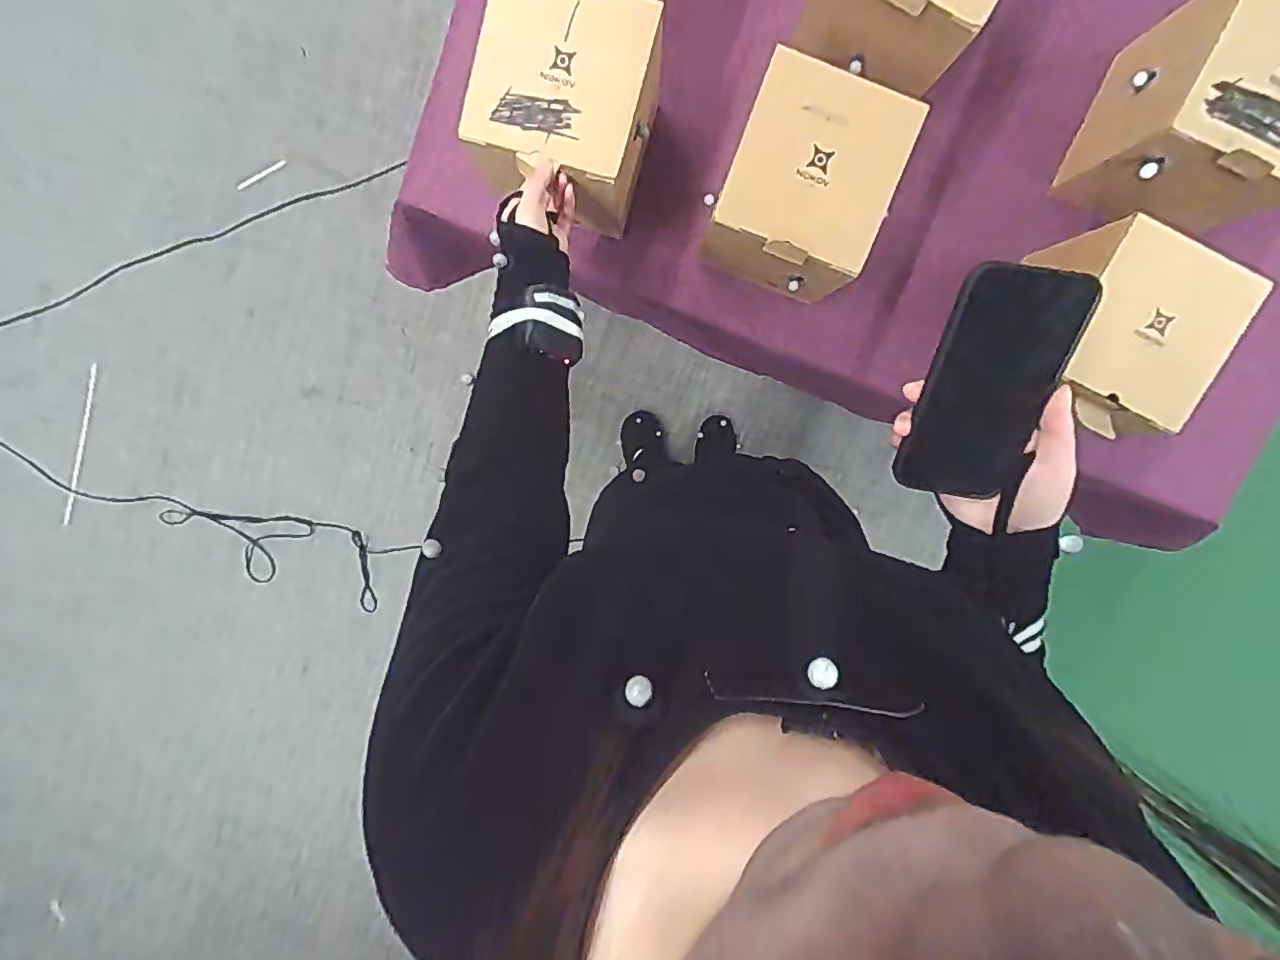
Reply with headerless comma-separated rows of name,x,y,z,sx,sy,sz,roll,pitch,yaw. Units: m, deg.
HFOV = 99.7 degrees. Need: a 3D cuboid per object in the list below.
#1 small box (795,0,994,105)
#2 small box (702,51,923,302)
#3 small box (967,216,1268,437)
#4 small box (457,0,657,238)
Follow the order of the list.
small box,0.292,-0.552,0.584,0.168,0.176,0.179,28,99,-3
small box,0.178,-0.324,0.623,0.168,0.176,0.179,21,98,-3
small box,0.534,-0.168,0.638,0.168,0.176,0.179,26,99,-2
small box,-0.082,-0.402,0.610,0.168,0.176,0.179,15,94,-2
